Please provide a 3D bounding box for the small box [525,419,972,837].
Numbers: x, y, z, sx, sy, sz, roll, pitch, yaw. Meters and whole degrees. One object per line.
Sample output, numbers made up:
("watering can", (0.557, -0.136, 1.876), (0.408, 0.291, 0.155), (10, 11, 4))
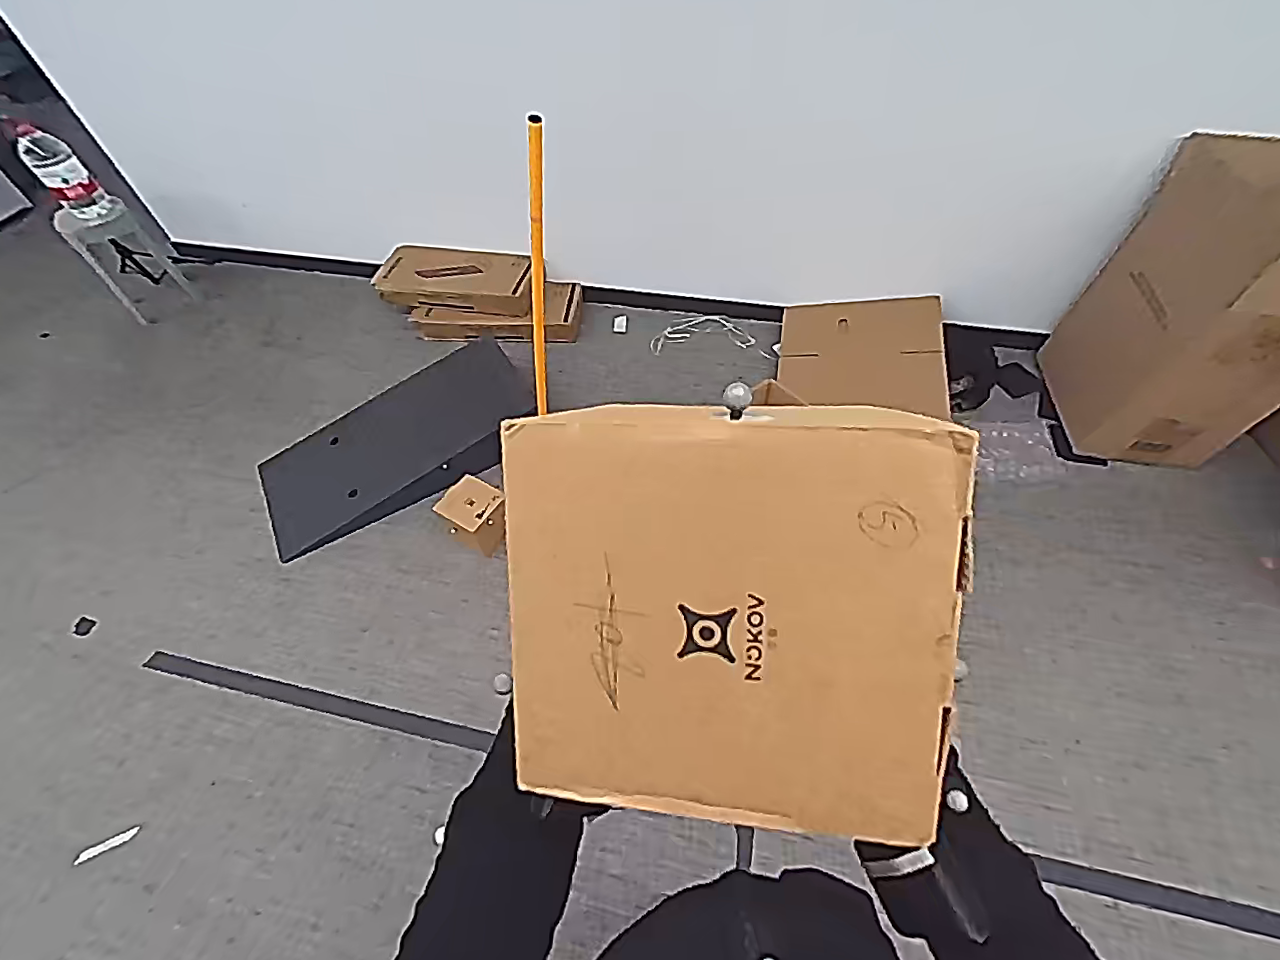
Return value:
("small box", (0.051, 0.052, 0.302), (0.179, 0.168, 0.176), (2, 8, 11))
